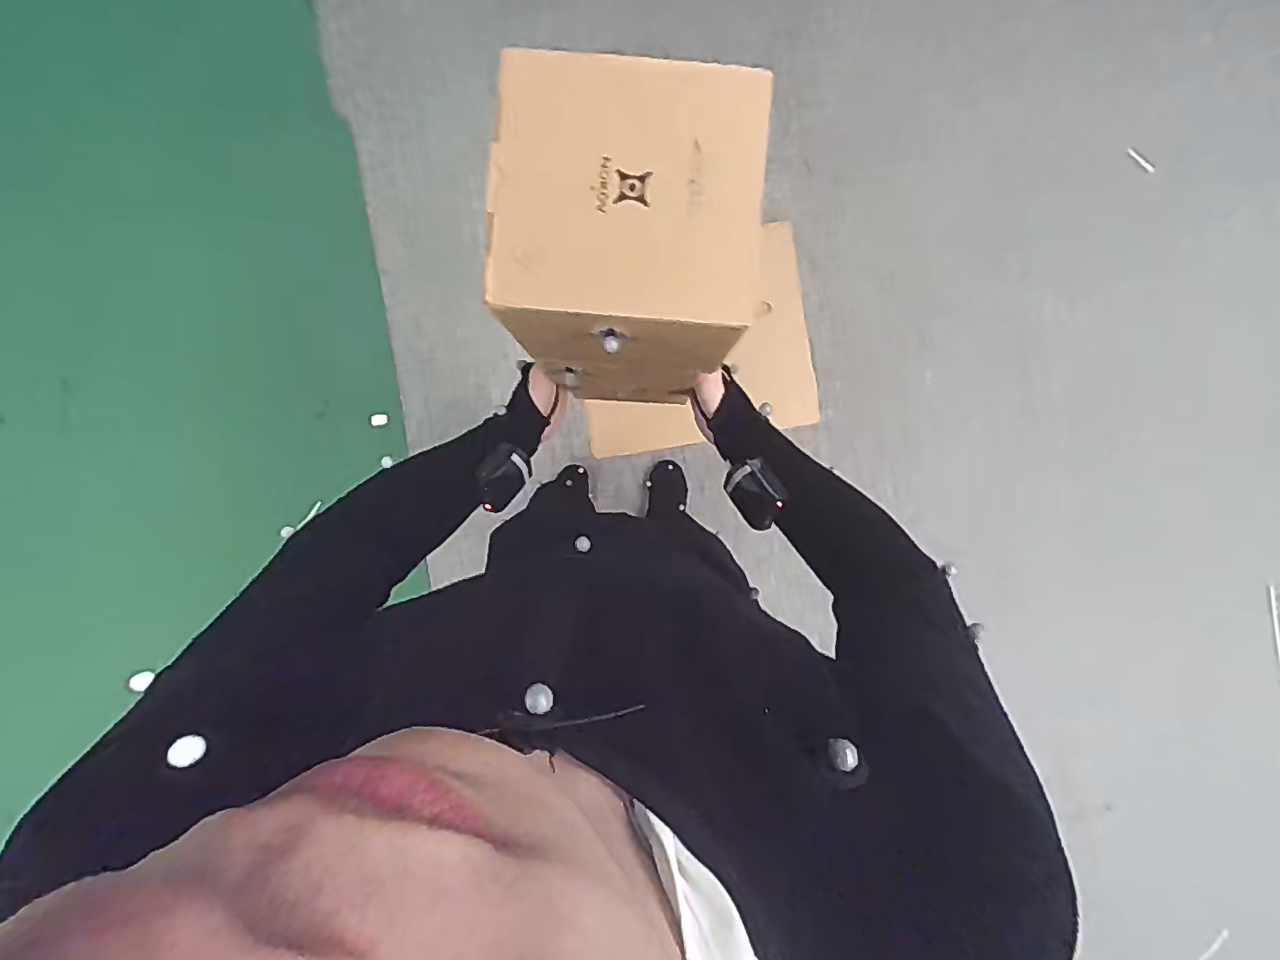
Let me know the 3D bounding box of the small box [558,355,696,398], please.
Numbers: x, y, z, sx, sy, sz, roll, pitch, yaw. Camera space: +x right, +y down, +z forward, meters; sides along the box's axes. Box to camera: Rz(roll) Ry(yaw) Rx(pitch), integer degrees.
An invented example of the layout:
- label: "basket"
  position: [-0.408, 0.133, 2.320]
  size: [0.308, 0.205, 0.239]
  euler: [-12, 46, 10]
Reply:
- label: "small box"
  position: [-0.010, -0.211, 0.755]
  size: [0.179, 0.176, 0.168]
  euler: [4, 90, 0]

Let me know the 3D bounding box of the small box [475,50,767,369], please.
- label: "small box"
  position: [-0.011, -0.189, 0.428]
  size: [0.179, 0.176, 0.168]
  euler: [6, 92, 0]
